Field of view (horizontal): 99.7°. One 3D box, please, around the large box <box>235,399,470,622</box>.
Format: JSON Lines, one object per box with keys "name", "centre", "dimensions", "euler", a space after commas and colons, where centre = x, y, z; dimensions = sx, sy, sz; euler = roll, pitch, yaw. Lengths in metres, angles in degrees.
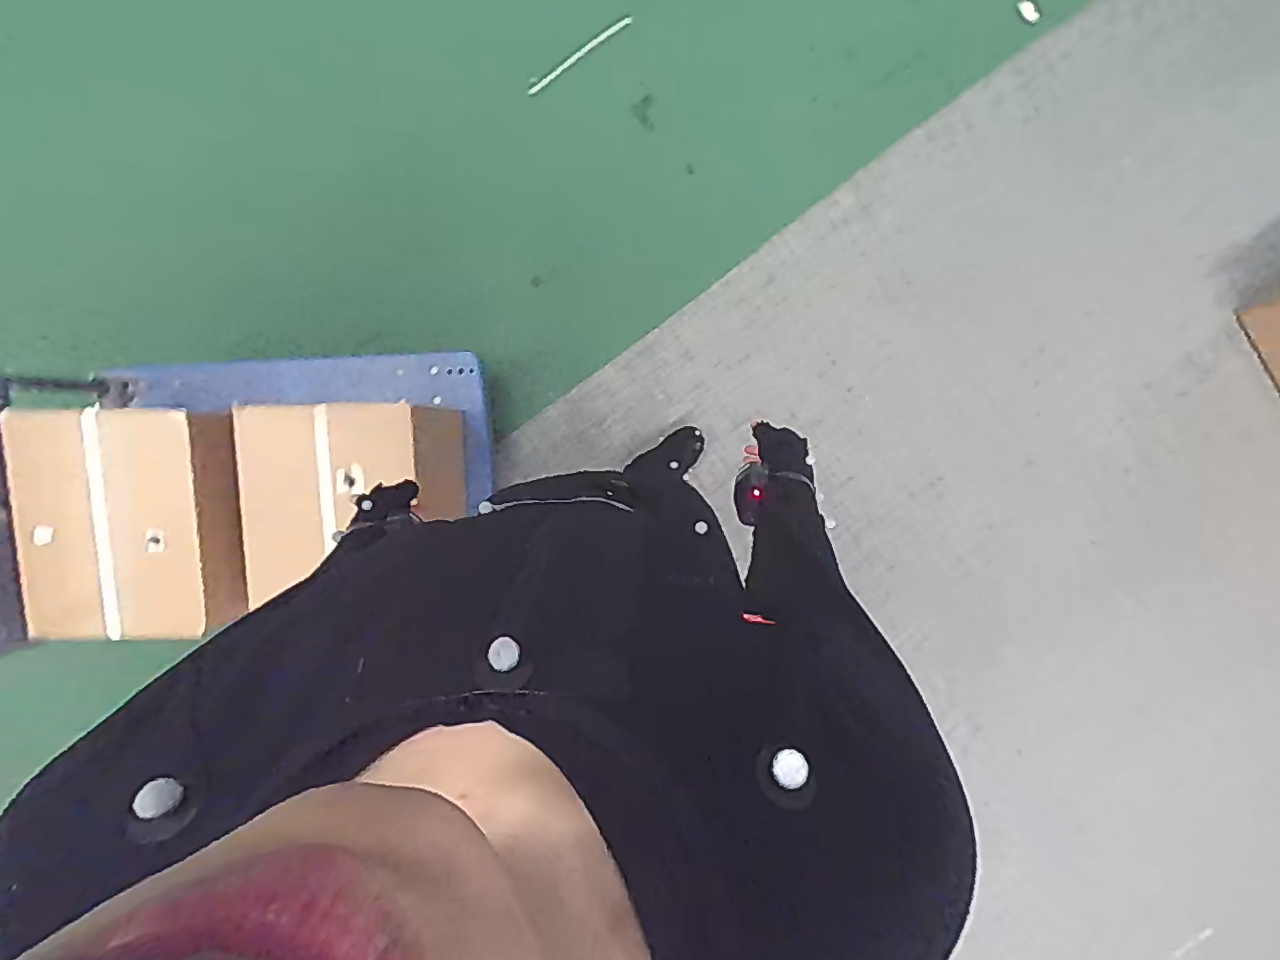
{"name": "large box", "centre": [-0.559, 0.048, 1.120], "dimensions": [0.320, 0.320, 0.408], "euler": [-1, 95, -1]}
